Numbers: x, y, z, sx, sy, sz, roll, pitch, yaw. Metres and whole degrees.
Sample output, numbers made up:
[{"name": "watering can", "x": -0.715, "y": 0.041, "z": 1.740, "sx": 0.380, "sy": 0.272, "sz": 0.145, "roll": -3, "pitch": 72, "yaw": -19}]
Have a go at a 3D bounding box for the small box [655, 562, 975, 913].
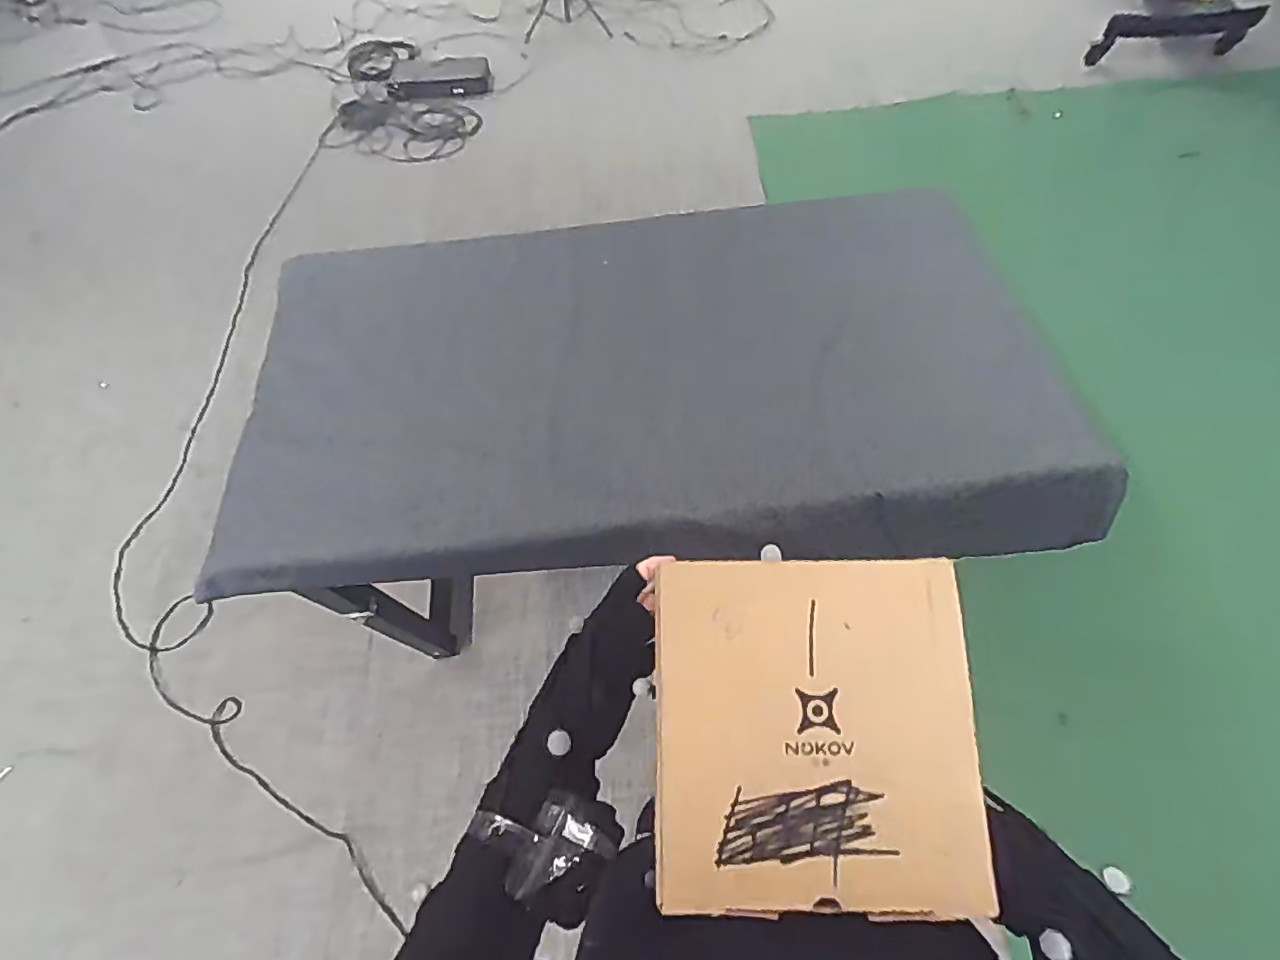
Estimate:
[{"name": "small box", "x": 0.095, "y": 0.150, "z": 0.373, "sx": 0.168, "sy": 0.176, "sz": 0.179, "roll": 1, "pitch": 78, "yaw": 1}]
